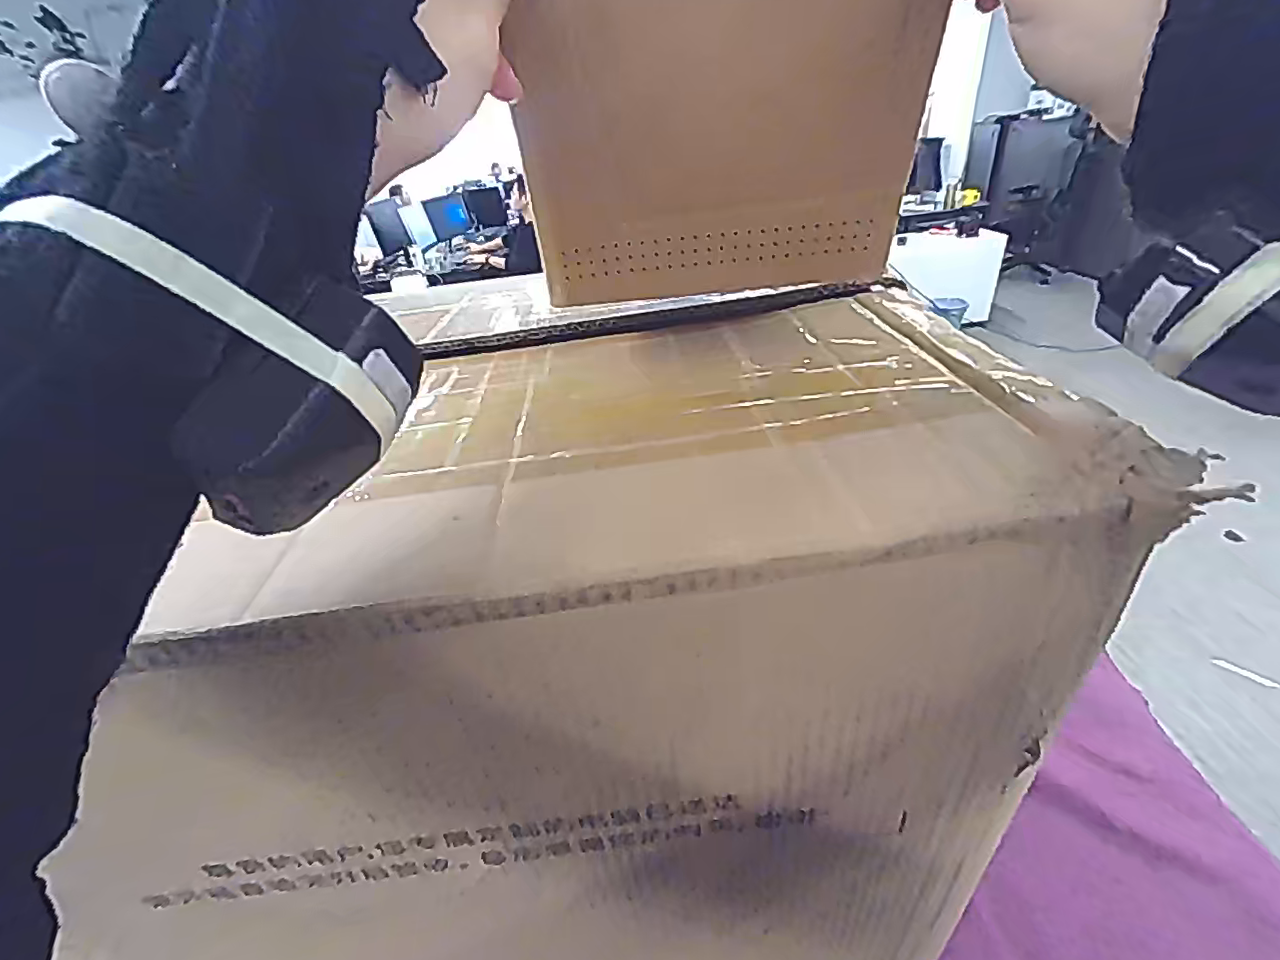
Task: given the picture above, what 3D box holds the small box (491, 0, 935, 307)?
[{"bbox_3d":[0.029,-0.204,0.277,0.179,0.176,0.168,-5,47,1],"label":"small box"}]
